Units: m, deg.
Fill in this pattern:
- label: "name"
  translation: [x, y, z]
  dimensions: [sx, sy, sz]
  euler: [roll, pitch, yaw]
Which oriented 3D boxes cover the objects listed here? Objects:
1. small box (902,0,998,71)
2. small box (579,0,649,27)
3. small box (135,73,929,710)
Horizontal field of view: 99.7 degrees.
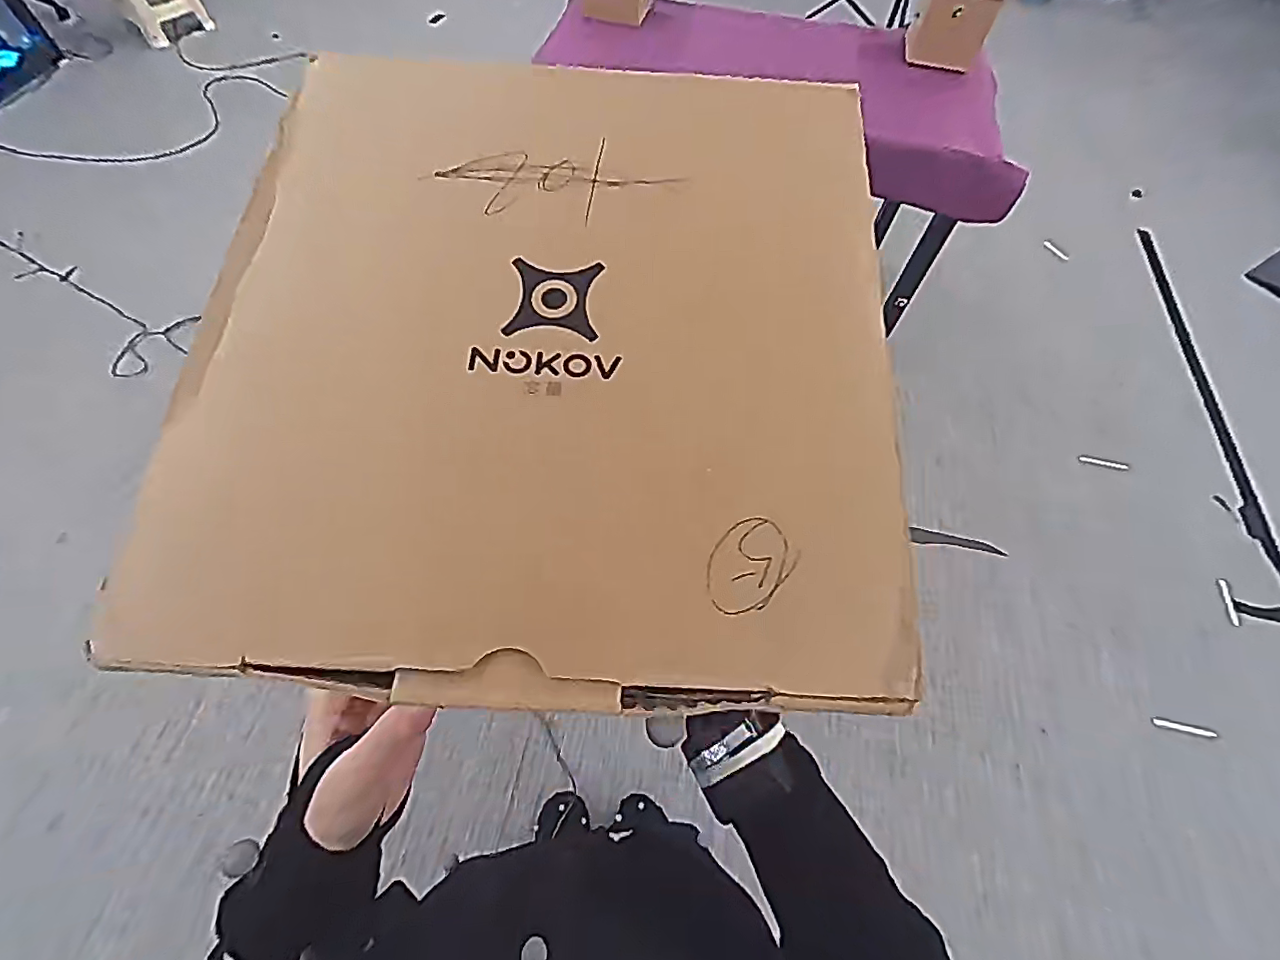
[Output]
- label: "small box"
  translation: [0.834, -1.252, 1.469]
  dimensions: [0.179, 0.176, 0.168]
  euler: [13, 62, 4]
- label: "small box"
  translation: [-0.072, -1.420, 1.521]
  dimensions: [0.179, 0.176, 0.168]
  euler: [15, 63, 4]
- label: "small box"
  translation: [-0.020, -0.012, 0.213]
  dimensions: [0.168, 0.176, 0.179]
  euler: [3, 69, -1]
